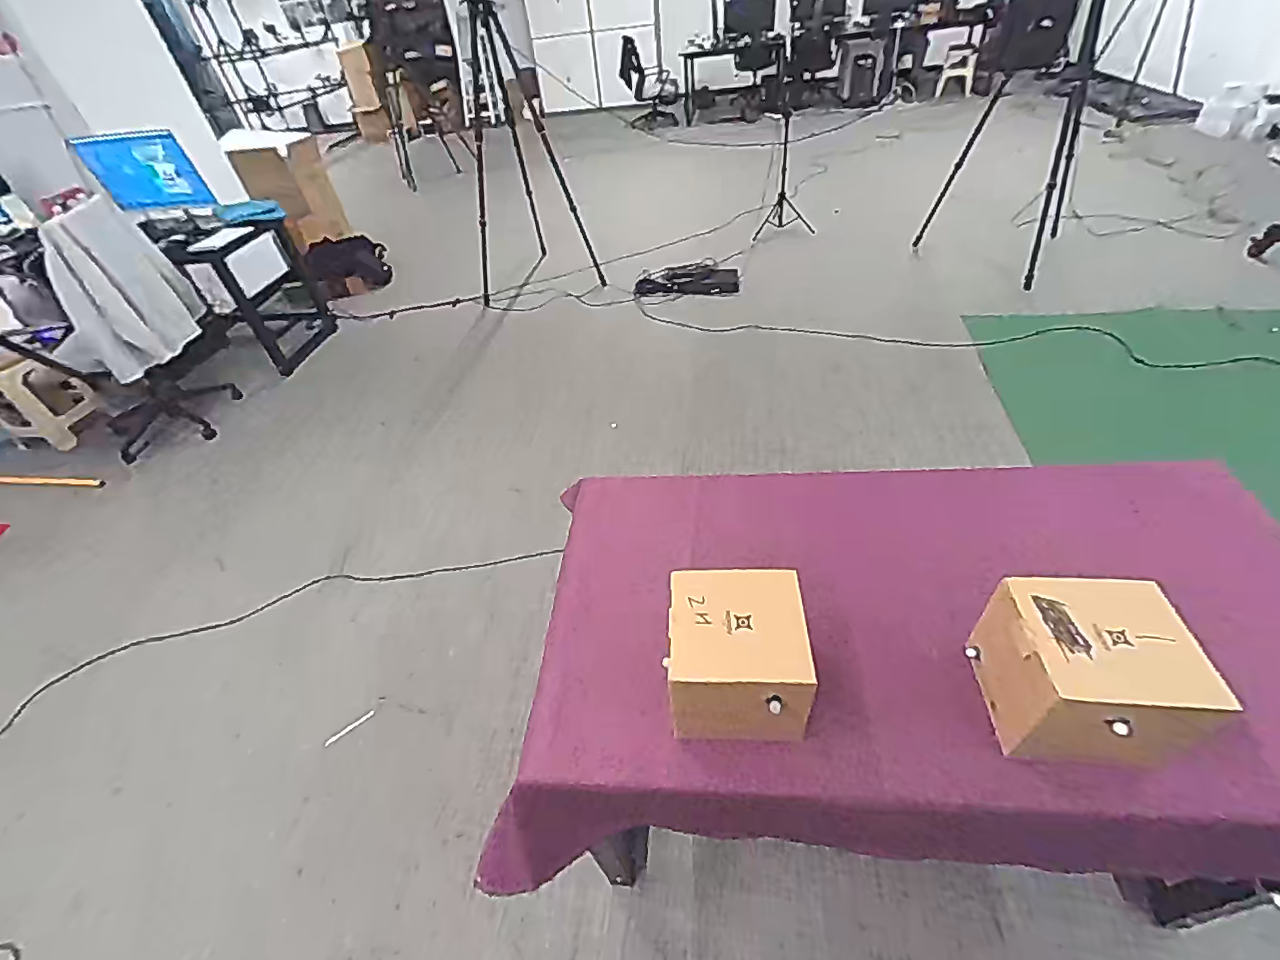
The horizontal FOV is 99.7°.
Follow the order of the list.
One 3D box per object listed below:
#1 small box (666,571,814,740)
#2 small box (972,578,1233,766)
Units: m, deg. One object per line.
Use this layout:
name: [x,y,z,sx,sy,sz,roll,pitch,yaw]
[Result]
small box: [0.130,0.244,0.749,0.179,0.176,0.168,-1,43,7]
small box: [0.549,0.243,0.683,0.179,0.176,0.168,0,44,9]
